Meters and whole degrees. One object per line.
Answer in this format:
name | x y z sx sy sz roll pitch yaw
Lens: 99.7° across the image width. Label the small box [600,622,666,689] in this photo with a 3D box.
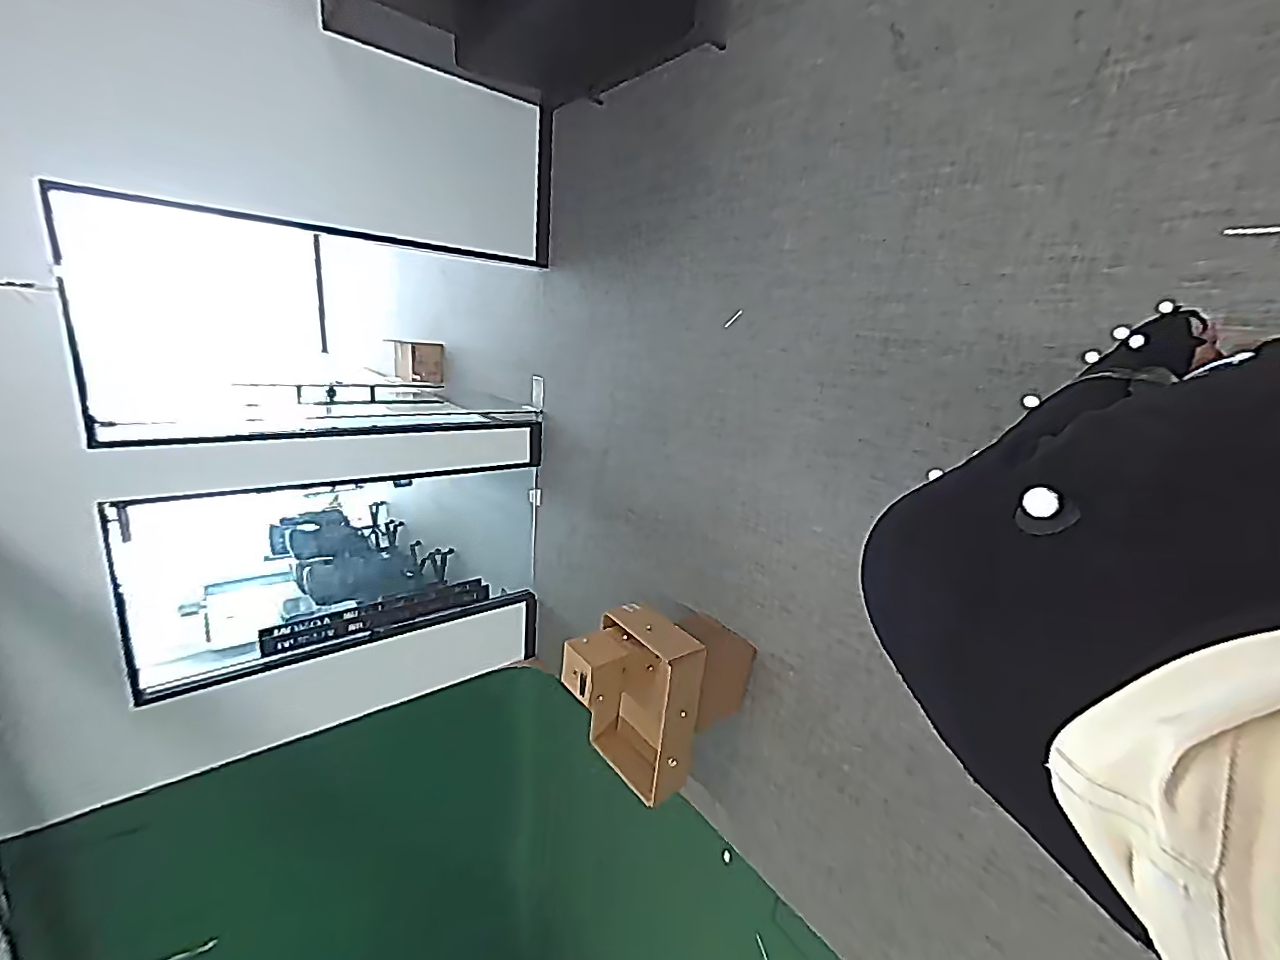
small box | -0.027 0.655 2.049 0.179 0.176 0.168 24 113 46
